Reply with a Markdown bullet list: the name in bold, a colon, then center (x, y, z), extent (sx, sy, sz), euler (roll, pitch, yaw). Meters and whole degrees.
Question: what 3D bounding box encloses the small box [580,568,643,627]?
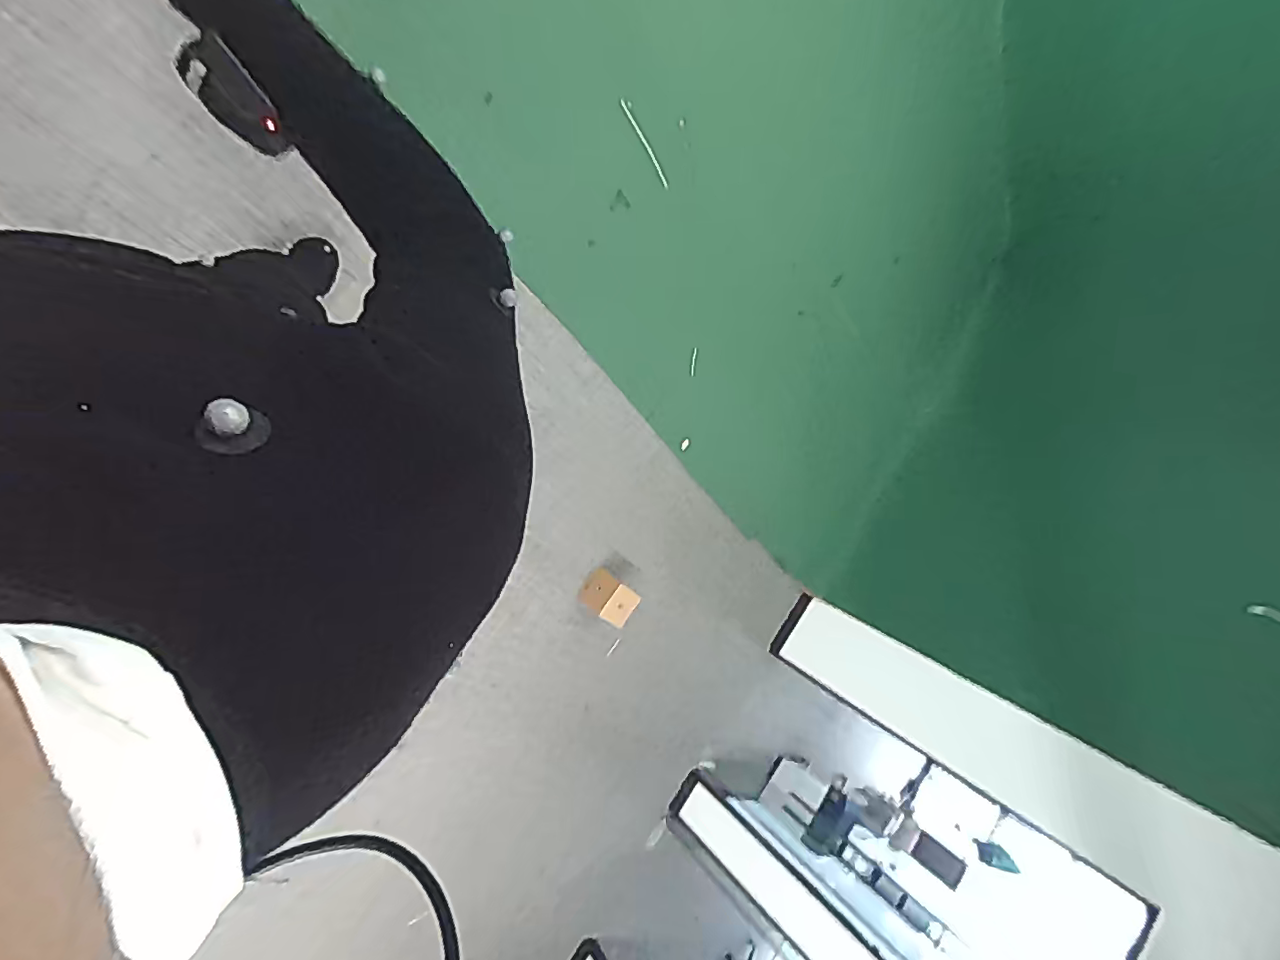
- **small box**: center (-0.127, 0.504, 2.347), extent (0.168, 0.176, 0.179), euler (-53, 135, -9)
